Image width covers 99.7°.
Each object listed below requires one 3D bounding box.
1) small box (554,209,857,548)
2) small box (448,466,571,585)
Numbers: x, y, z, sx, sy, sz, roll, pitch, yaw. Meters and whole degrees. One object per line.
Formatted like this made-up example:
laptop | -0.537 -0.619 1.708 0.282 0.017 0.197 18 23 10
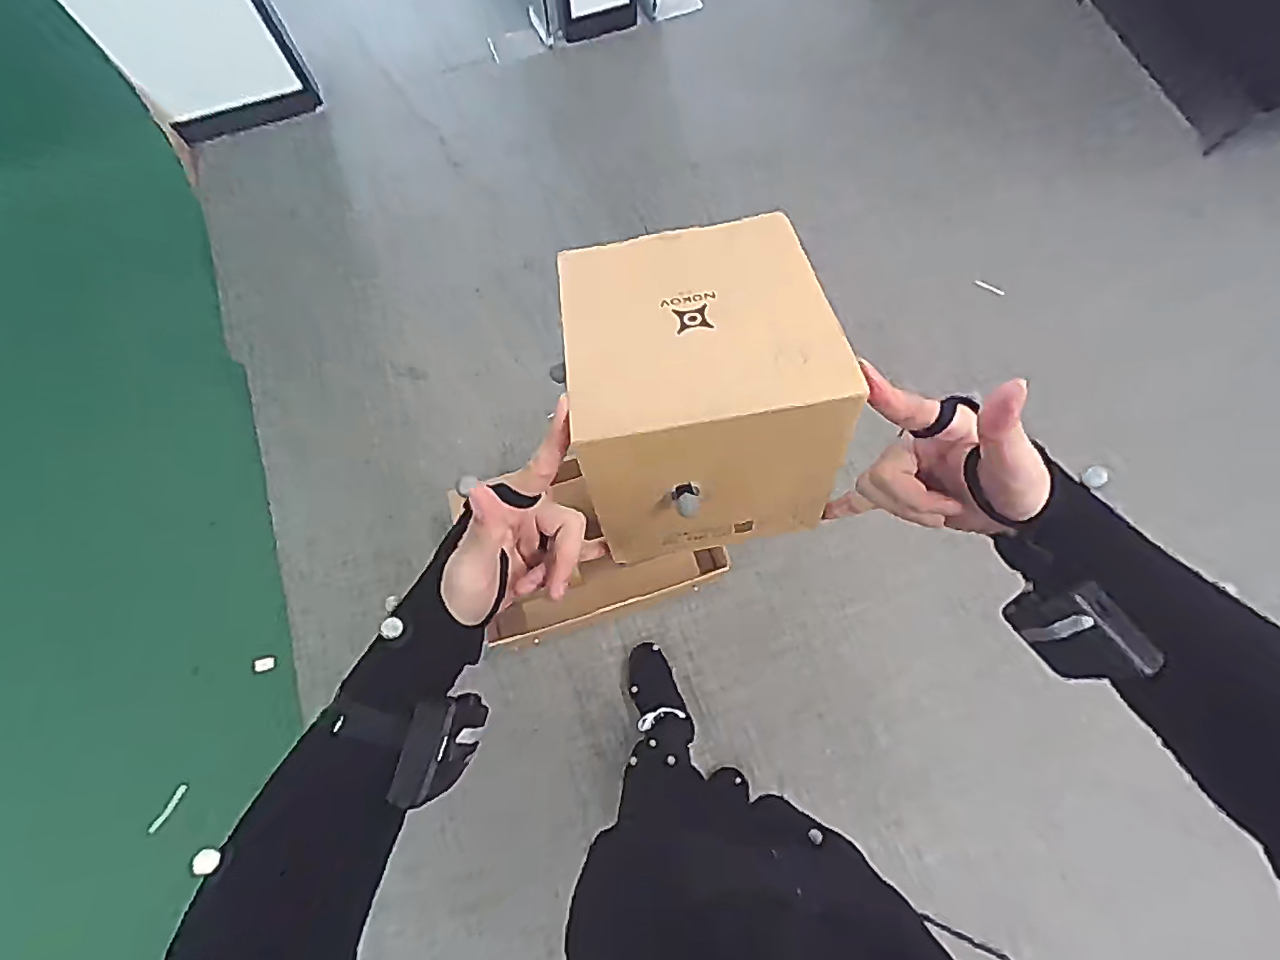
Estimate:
small box | 0.038 -0.062 0.403 0.168 0.176 0.179 -10 56 2
small box | -0.243 0.095 1.038 0.179 0.176 0.168 -16 73 -6
